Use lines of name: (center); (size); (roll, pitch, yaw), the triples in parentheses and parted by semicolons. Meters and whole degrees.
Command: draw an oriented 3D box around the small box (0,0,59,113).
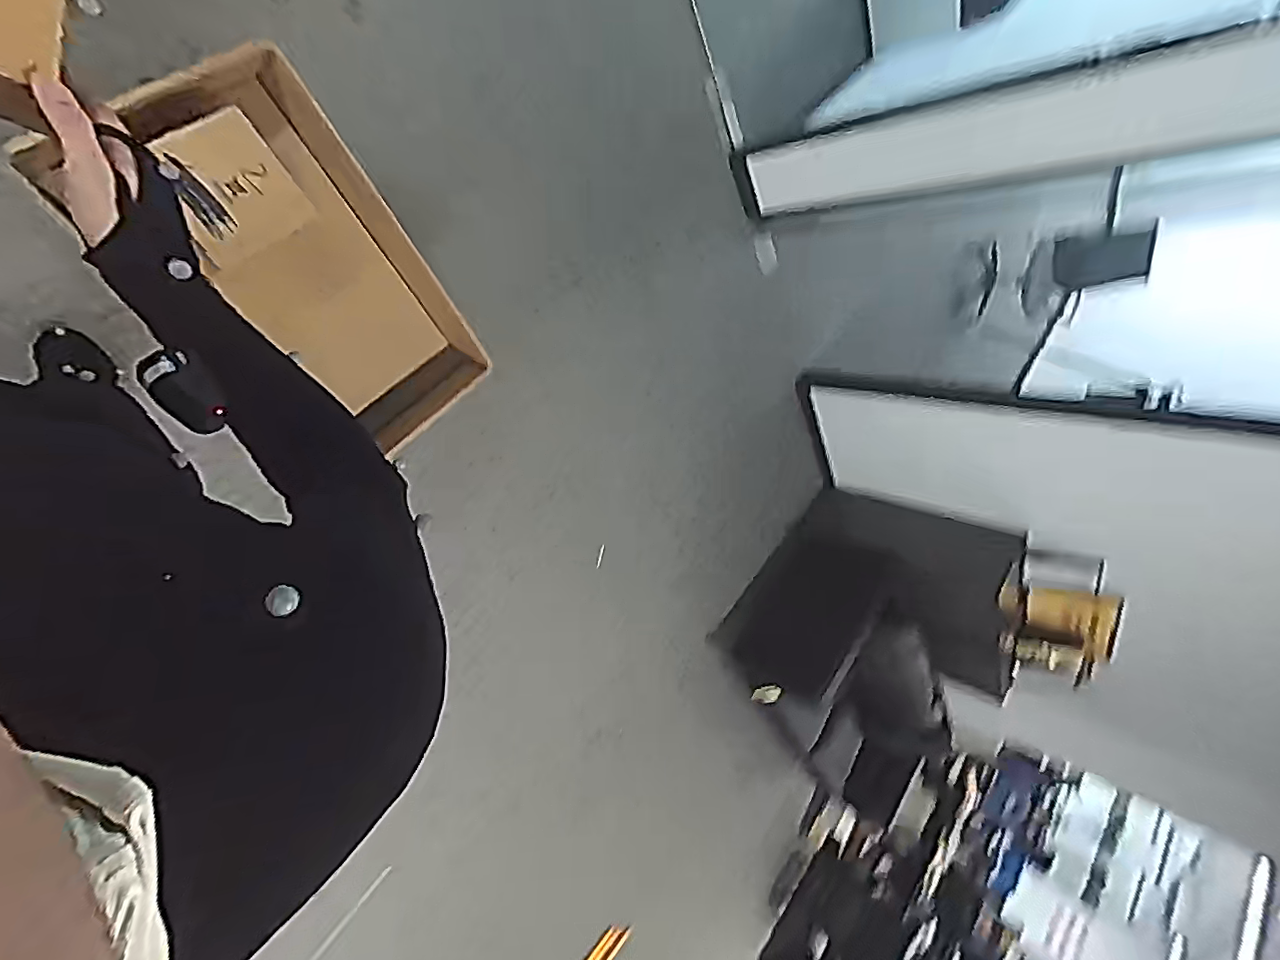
small box: (-0.496, -0.378, 0.347); (0.168, 0.176, 0.179); (3, 104, -49)
